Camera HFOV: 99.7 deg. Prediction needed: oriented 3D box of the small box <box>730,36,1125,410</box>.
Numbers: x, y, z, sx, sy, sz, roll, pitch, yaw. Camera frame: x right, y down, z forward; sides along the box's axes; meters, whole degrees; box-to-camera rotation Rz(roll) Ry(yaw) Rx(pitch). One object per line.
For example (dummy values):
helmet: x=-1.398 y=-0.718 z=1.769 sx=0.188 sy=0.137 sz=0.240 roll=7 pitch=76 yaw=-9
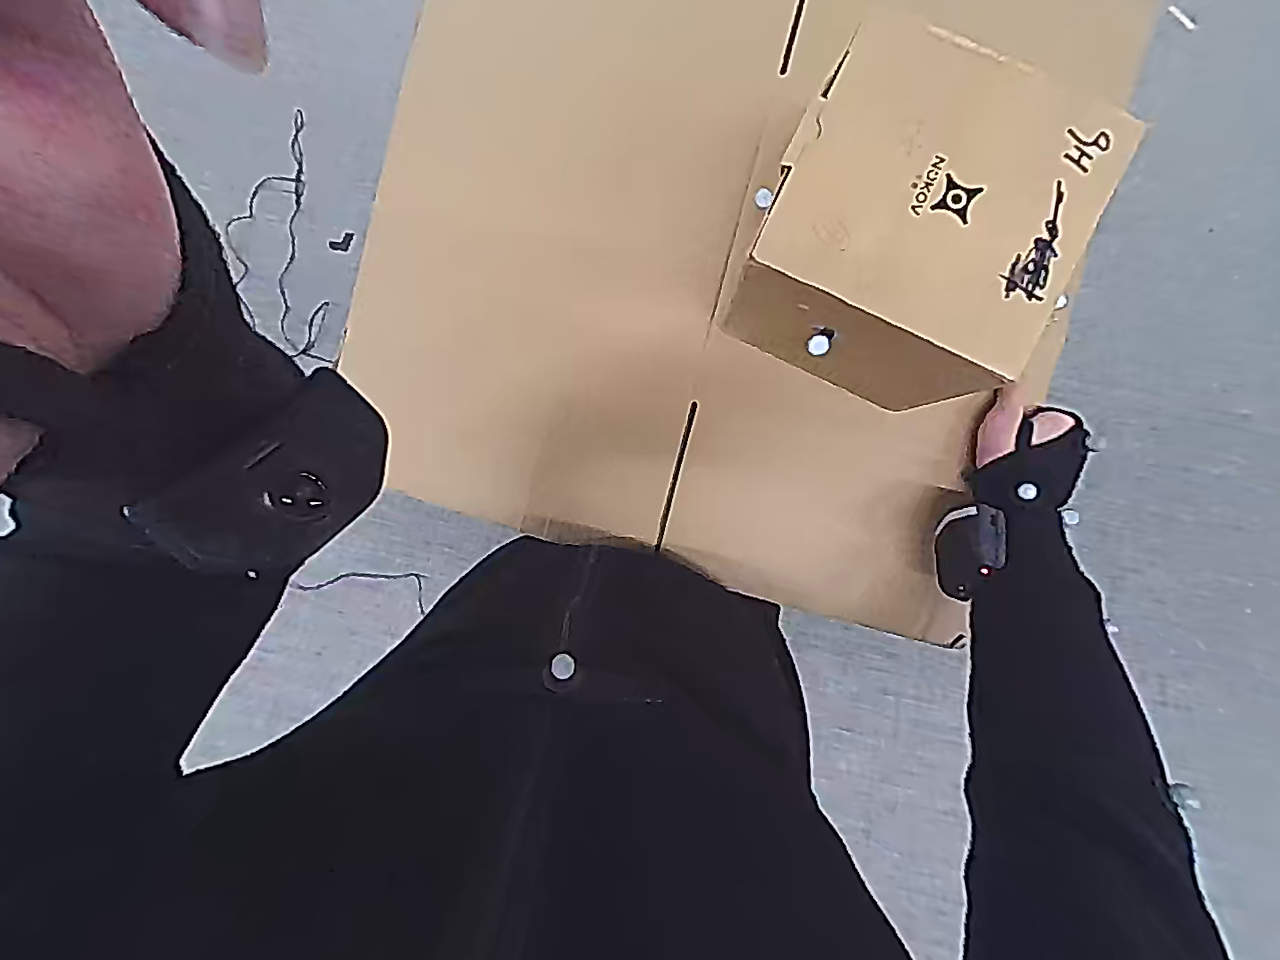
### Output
small box: x=0.181 y=-0.163 z=0.407 sx=0.179 sy=0.176 sz=0.168 roll=26 pitch=93 yaw=3
